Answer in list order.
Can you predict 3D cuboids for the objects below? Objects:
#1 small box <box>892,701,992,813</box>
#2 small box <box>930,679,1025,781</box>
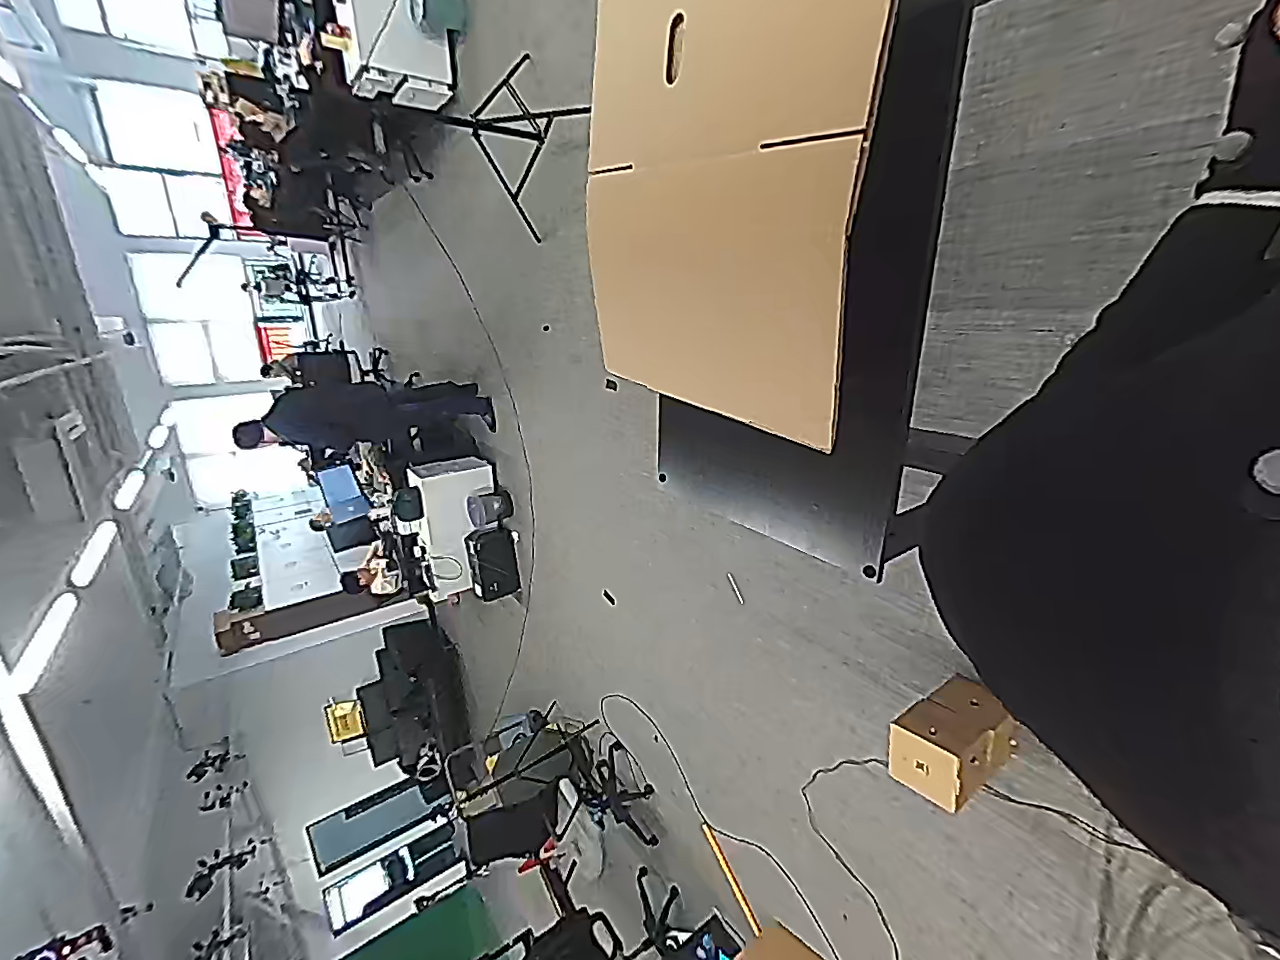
[{"bbox_3d":[0.791,0.711,1.415,0.179,0.176,0.168,13,111,55],"label":"small box"},{"bbox_3d":[0.925,0.679,1.499,0.179,0.176,0.168,17,115,51],"label":"small box"}]
